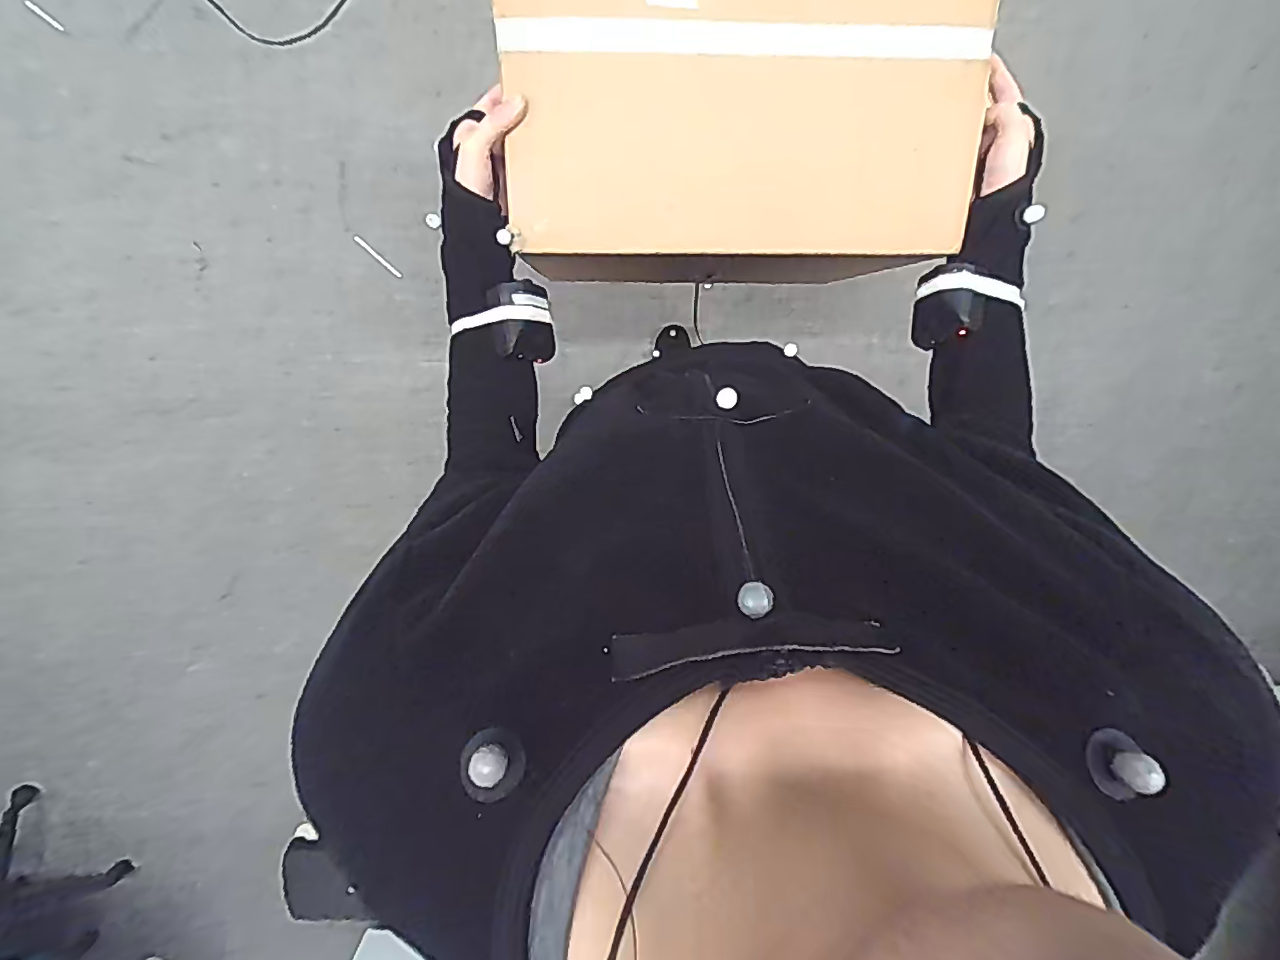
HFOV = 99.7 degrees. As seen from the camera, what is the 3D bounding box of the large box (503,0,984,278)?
[{"bbox_3d":[0.084,-0.399,0.595,0.408,0.320,0.320,-1,105,-2],"label":"large box"}]
